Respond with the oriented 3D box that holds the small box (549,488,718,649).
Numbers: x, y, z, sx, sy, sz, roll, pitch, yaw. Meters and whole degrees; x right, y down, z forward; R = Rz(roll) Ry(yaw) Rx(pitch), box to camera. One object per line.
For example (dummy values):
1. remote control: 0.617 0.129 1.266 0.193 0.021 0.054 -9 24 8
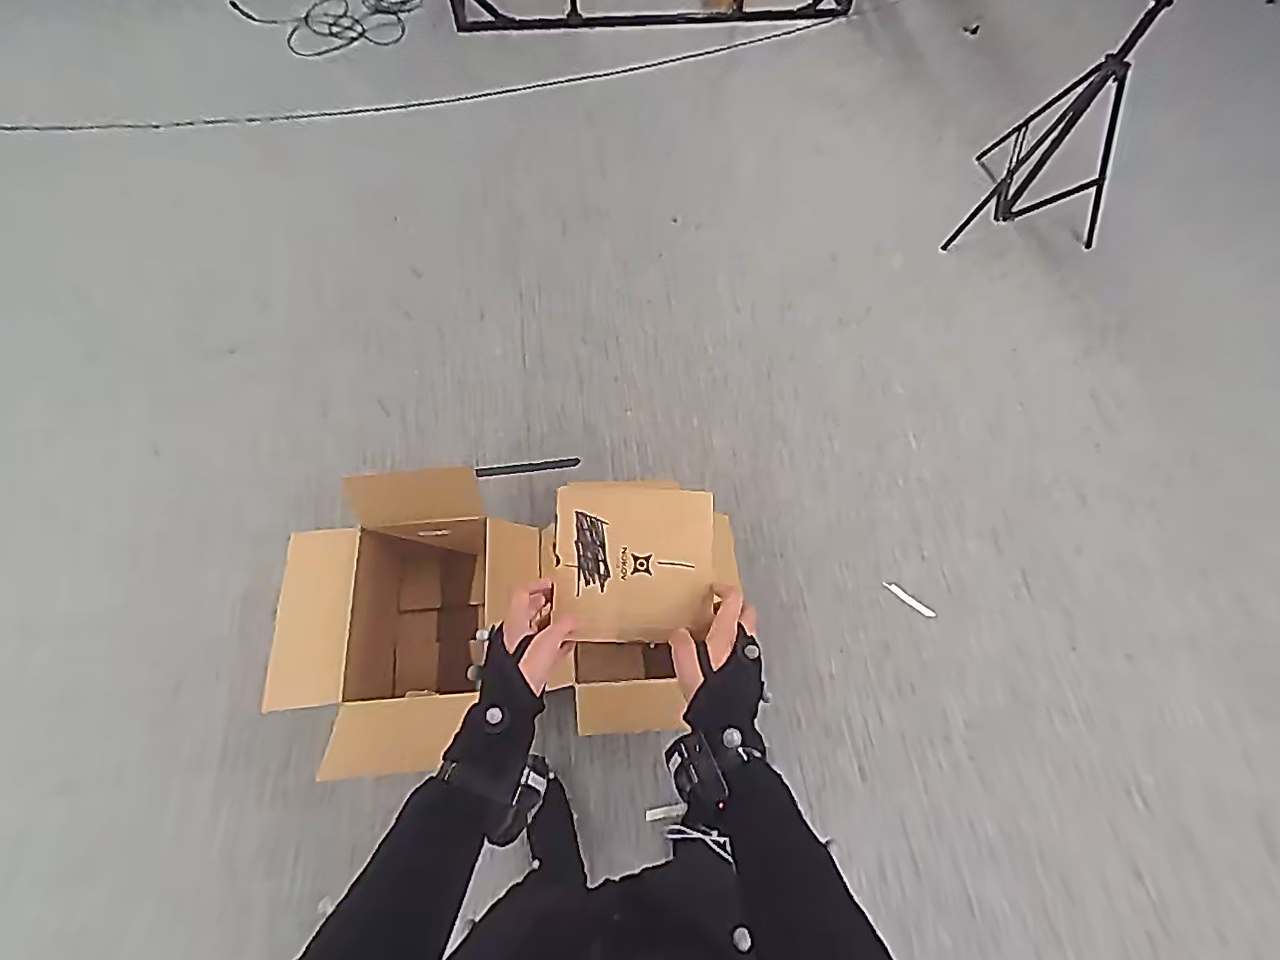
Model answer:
1. small box: -0.008 0.110 0.651 0.179 0.176 0.168 3 77 -3
